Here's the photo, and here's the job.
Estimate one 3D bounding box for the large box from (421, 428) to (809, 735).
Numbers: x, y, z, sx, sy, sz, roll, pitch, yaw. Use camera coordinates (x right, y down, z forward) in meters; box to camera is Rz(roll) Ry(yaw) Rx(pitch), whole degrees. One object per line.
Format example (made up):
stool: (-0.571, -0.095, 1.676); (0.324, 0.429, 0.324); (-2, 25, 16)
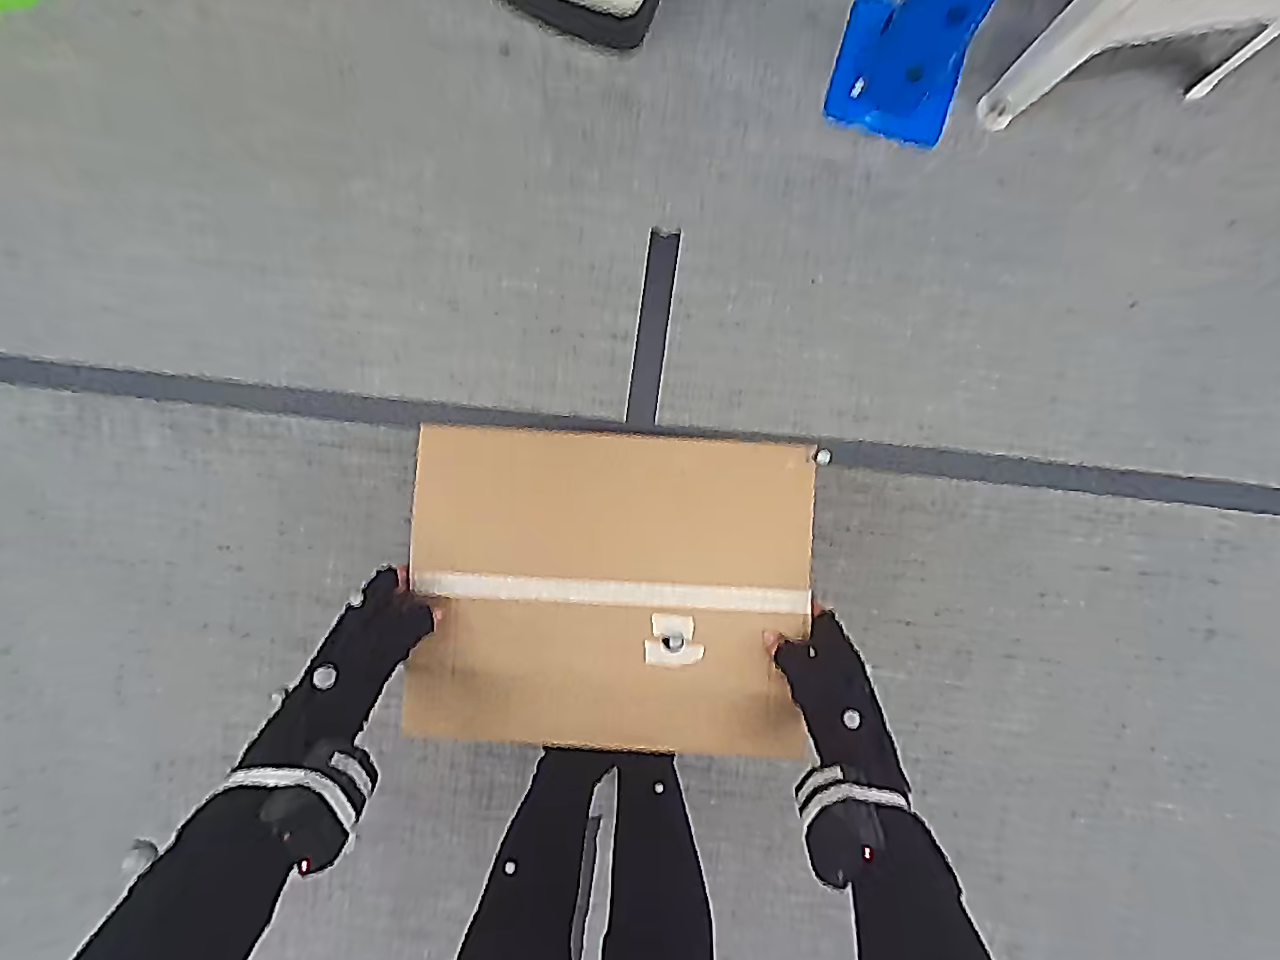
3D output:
large box: (-0.028, 0.112, 0.712); (0.408, 0.320, 0.320); (3, 89, -1)
